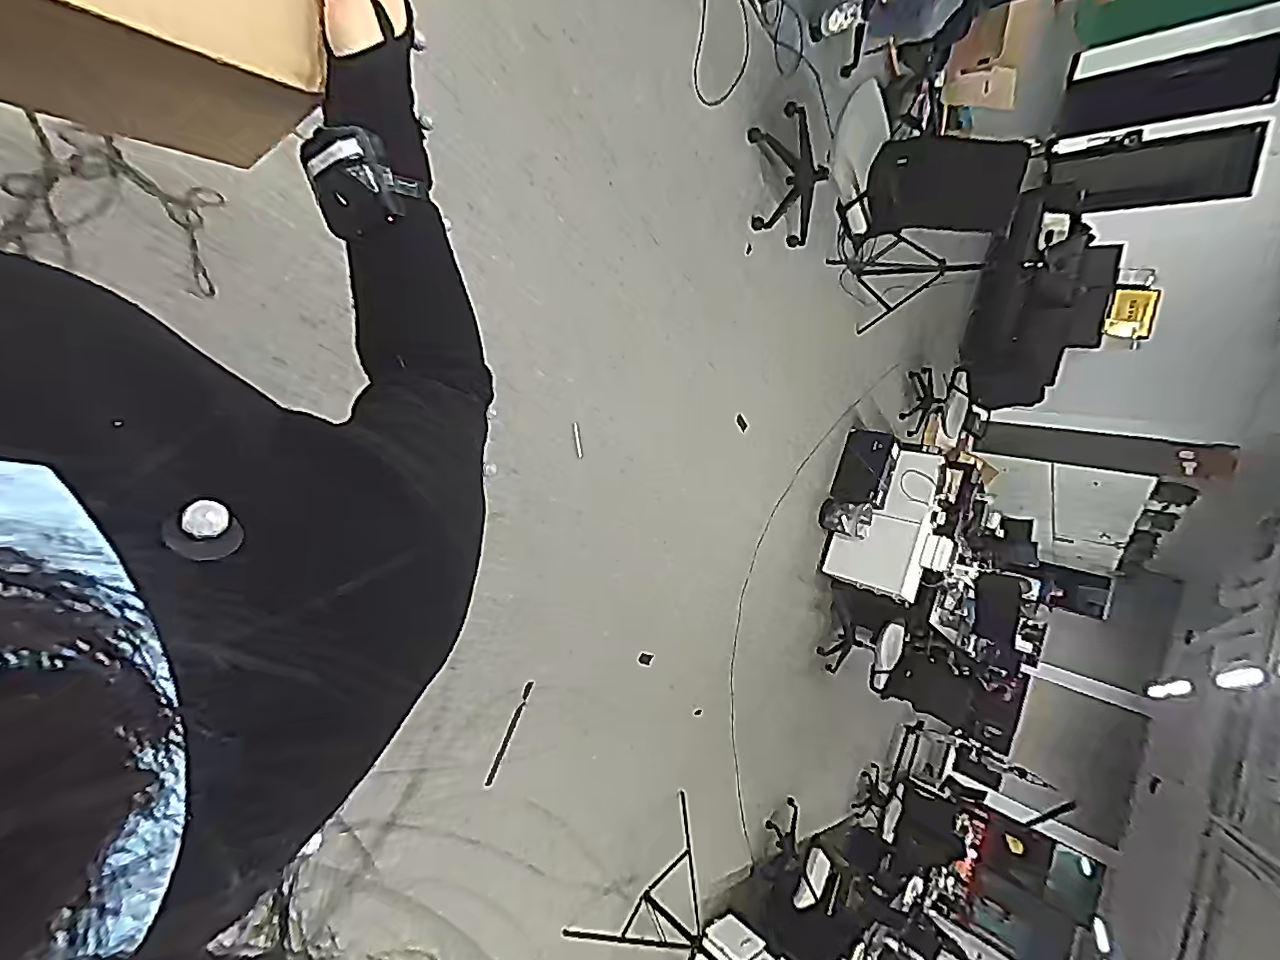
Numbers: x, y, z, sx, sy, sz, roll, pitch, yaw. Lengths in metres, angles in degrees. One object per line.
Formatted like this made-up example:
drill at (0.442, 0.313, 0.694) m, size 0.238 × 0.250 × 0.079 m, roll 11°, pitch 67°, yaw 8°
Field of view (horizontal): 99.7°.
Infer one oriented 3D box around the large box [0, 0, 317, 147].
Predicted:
large box at (-0.470, -0.463, 0.338) m, size 0.408 × 0.320 × 0.320 m, roll -6°, pitch 106°, yaw -43°
